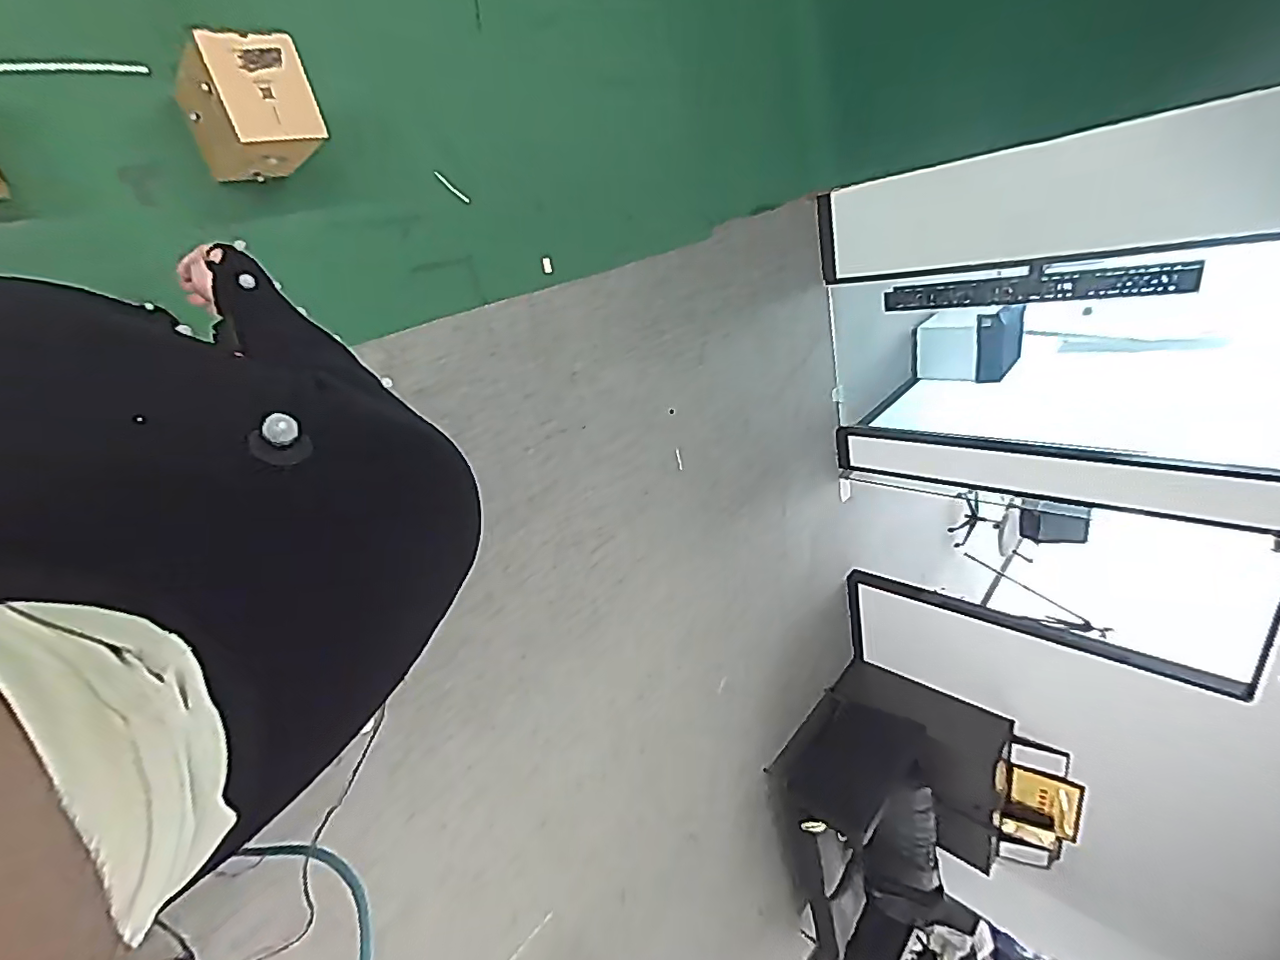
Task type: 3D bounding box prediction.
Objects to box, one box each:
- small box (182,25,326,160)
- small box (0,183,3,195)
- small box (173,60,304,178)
[{"bbox_3d":[-0.771,-0.763,1.080,0.168,0.176,0.179,-32,121,-36],"label":"small box"},{"bbox_3d":[-1.235,-0.572,0.901,0.168,0.176,0.179,-33,120,-35],"label":"small box"},{"bbox_3d":[-0.888,-0.788,1.193,0.168,0.176,0.179,-32,121,-36],"label":"small box"}]
